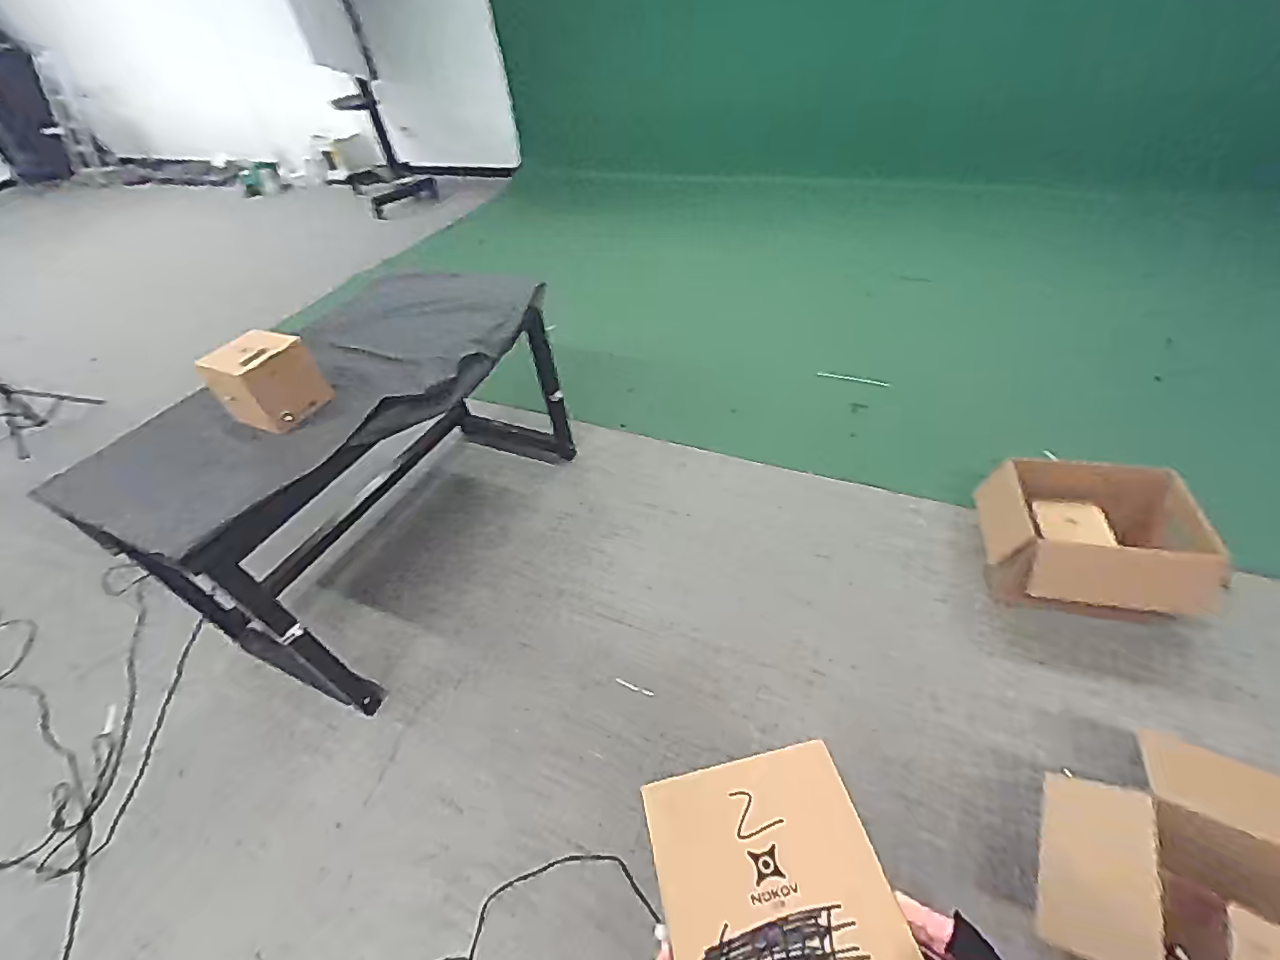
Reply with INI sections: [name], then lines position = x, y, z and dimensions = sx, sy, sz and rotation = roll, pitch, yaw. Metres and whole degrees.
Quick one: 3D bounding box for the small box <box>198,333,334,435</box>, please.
[small box]
position = -0.887, -0.229, 1.302
dimensions = 0.179, 0.176, 0.168
rotation = 15, 48, 23
